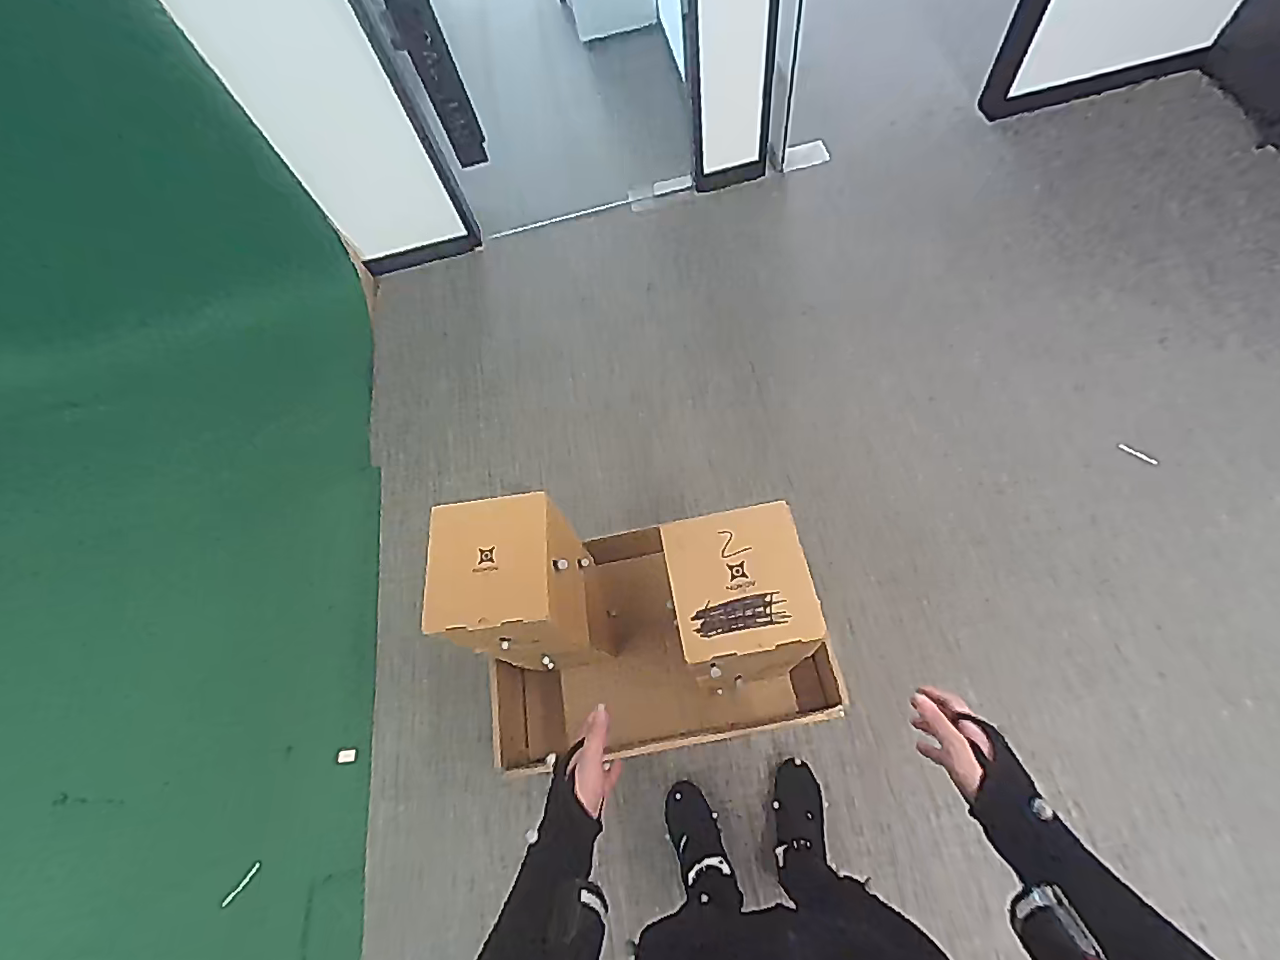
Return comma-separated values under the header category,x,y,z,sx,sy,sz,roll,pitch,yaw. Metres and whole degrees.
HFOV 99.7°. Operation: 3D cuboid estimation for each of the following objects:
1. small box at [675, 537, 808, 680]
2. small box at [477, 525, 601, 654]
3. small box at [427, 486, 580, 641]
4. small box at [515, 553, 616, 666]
category,x,y,z,sx,sy,sz,roll,pitch,yaw
small box,0.155,0.213,0.873,0.168,0.176,0.179,-13,65,3
small box,-0.166,0.193,0.930,0.168,0.176,0.179,-8,65,6
small box,-0.185,0.127,0.784,0.168,0.176,0.179,-7,66,5
small box,-0.146,0.262,1.078,0.168,0.176,0.179,-9,65,4
